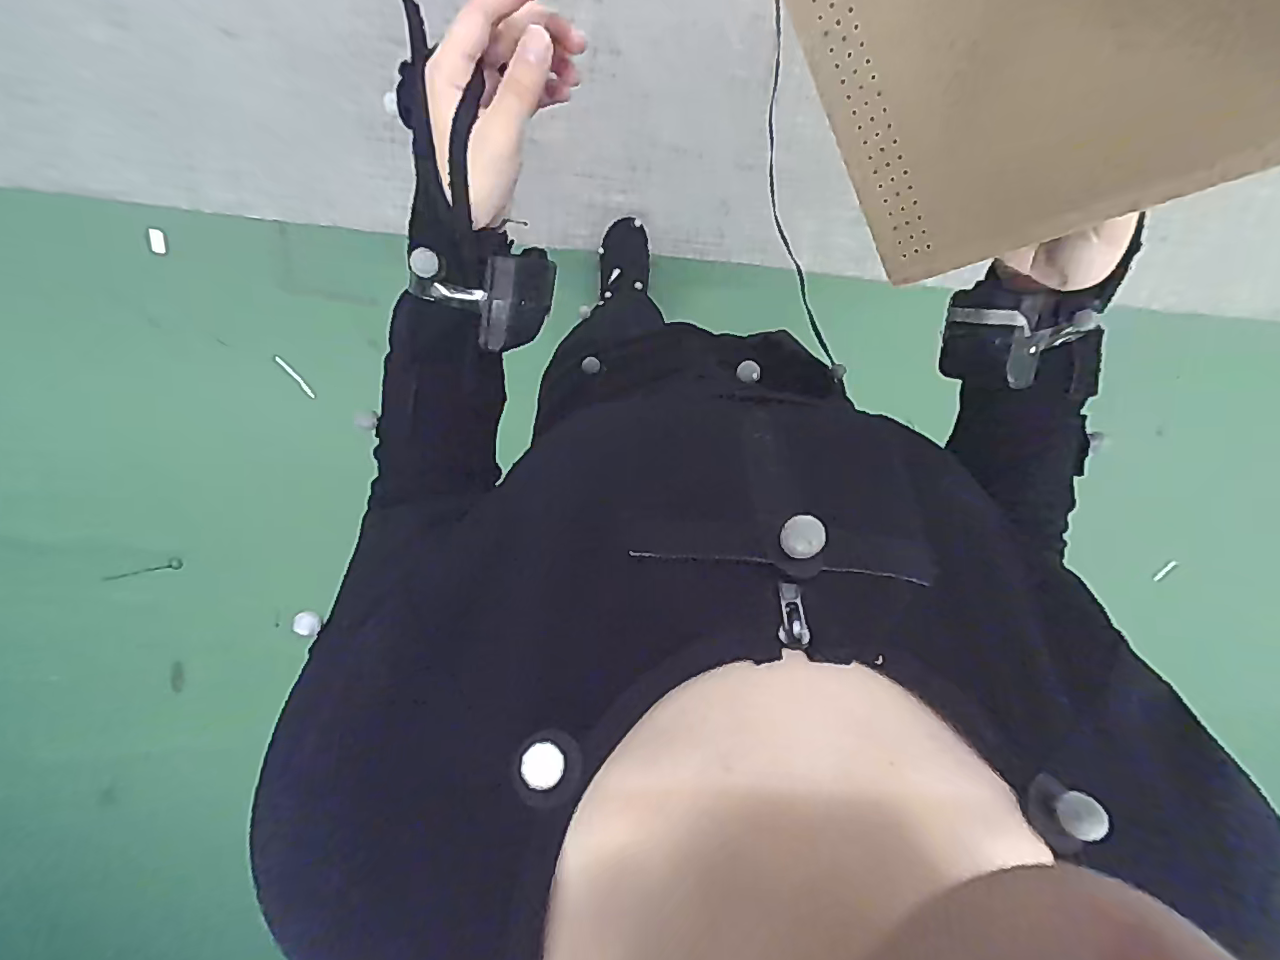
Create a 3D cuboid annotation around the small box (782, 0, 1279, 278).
[{"bbox_3d":[0.174,-0.204,0.192,0.168,0.176,0.179,-34,104,-14],"label":"small box"}]
